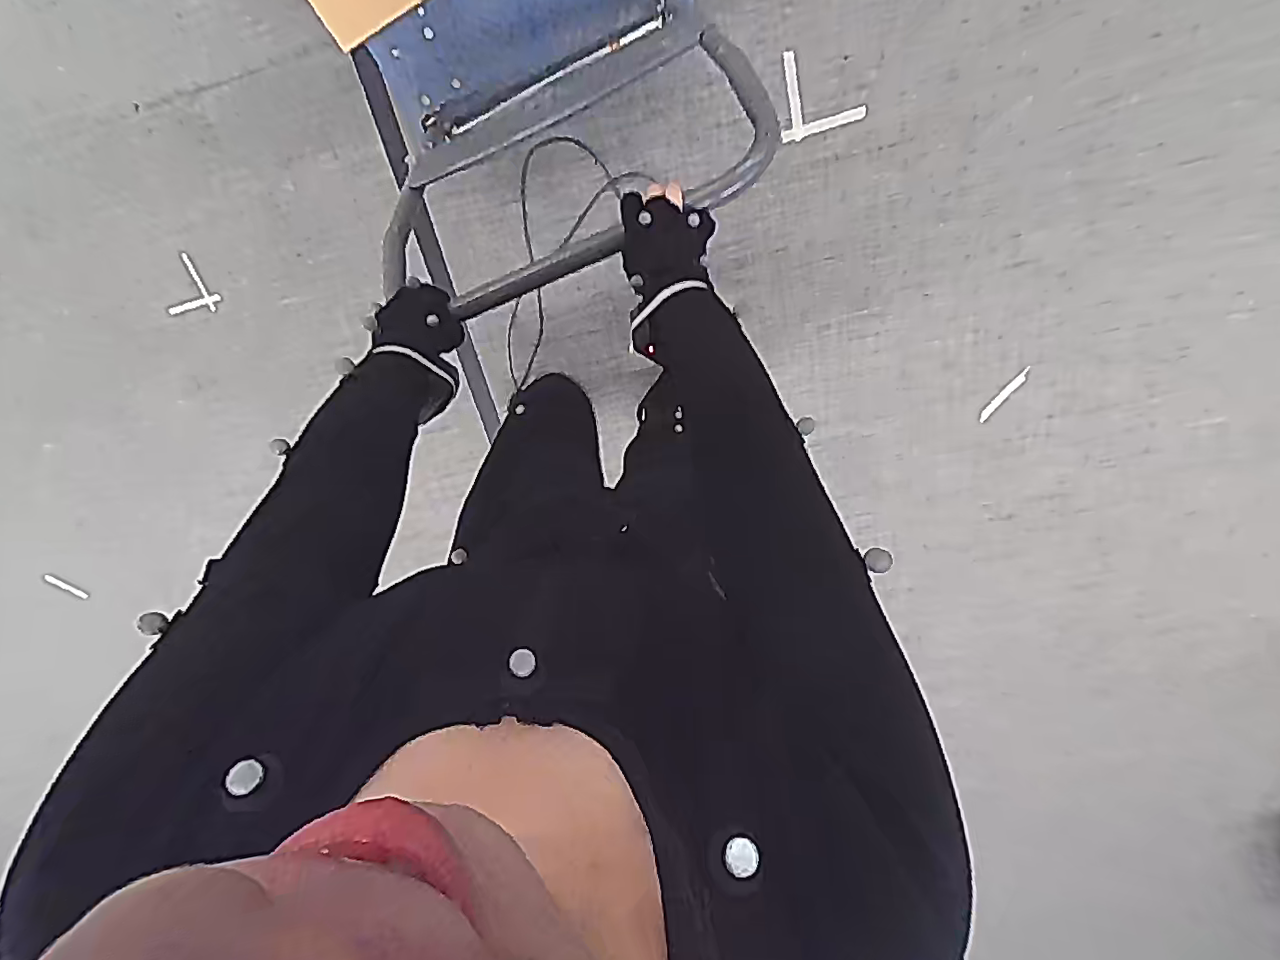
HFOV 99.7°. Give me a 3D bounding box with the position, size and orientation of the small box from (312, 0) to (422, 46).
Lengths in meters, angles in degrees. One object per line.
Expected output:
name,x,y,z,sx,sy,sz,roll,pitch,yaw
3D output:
small box,-0.426,-0.812,0.827,0.179,0.176,0.168,-22,134,14
